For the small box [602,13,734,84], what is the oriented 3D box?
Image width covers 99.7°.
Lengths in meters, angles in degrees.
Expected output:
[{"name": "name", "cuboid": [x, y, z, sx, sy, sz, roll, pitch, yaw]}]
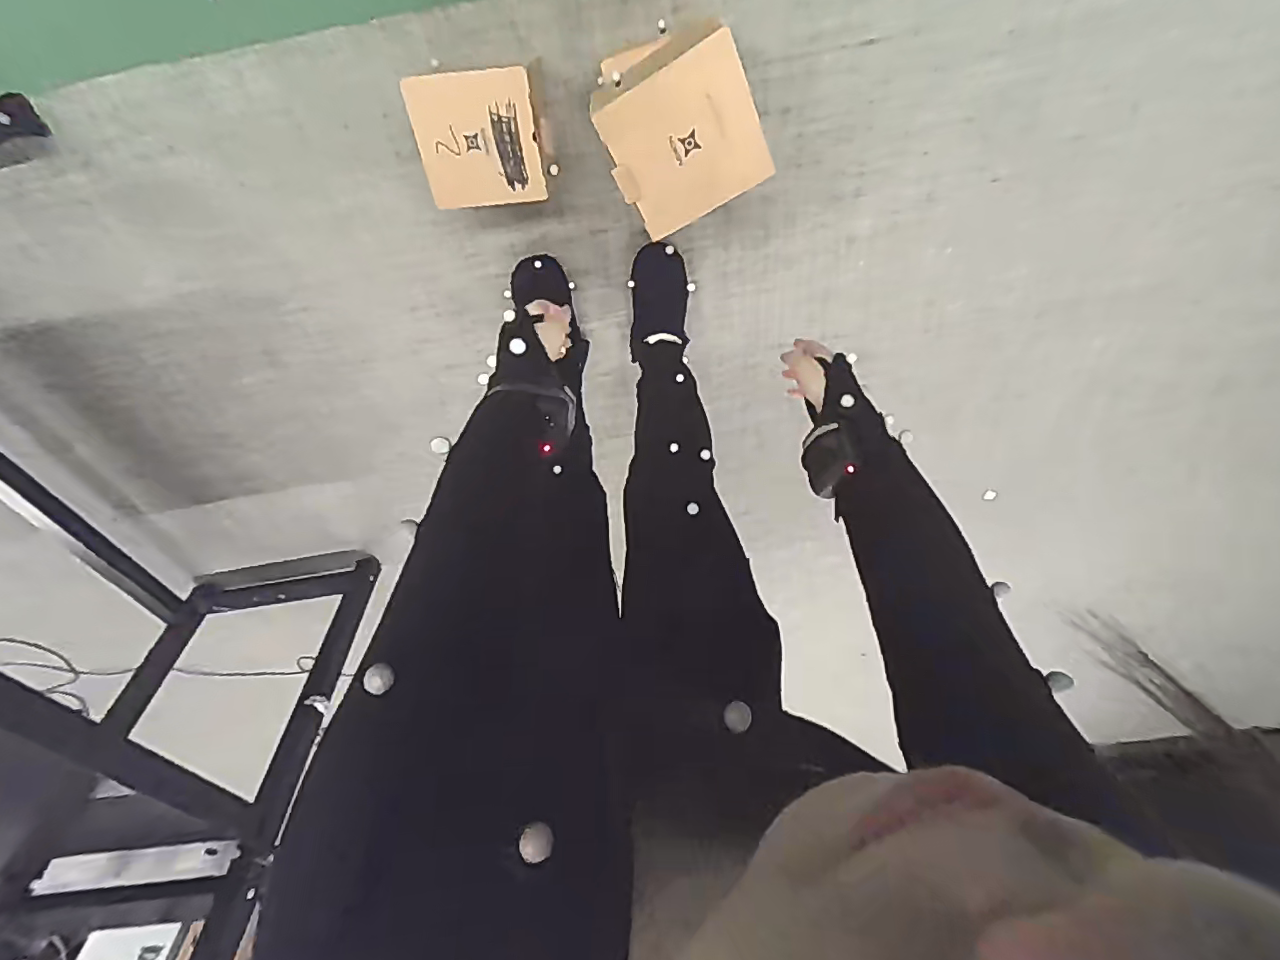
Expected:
[{"name": "small box", "cuboid": [0.050, -0.564, 0.805, 0.179, 0.176, 0.168, -14, 132, 8]}]

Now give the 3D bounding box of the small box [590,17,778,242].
[{"name": "small box", "cuboid": [0.052, -0.447, 0.693, 0.179, 0.176, 0.168, -24, 131, 17]}]
